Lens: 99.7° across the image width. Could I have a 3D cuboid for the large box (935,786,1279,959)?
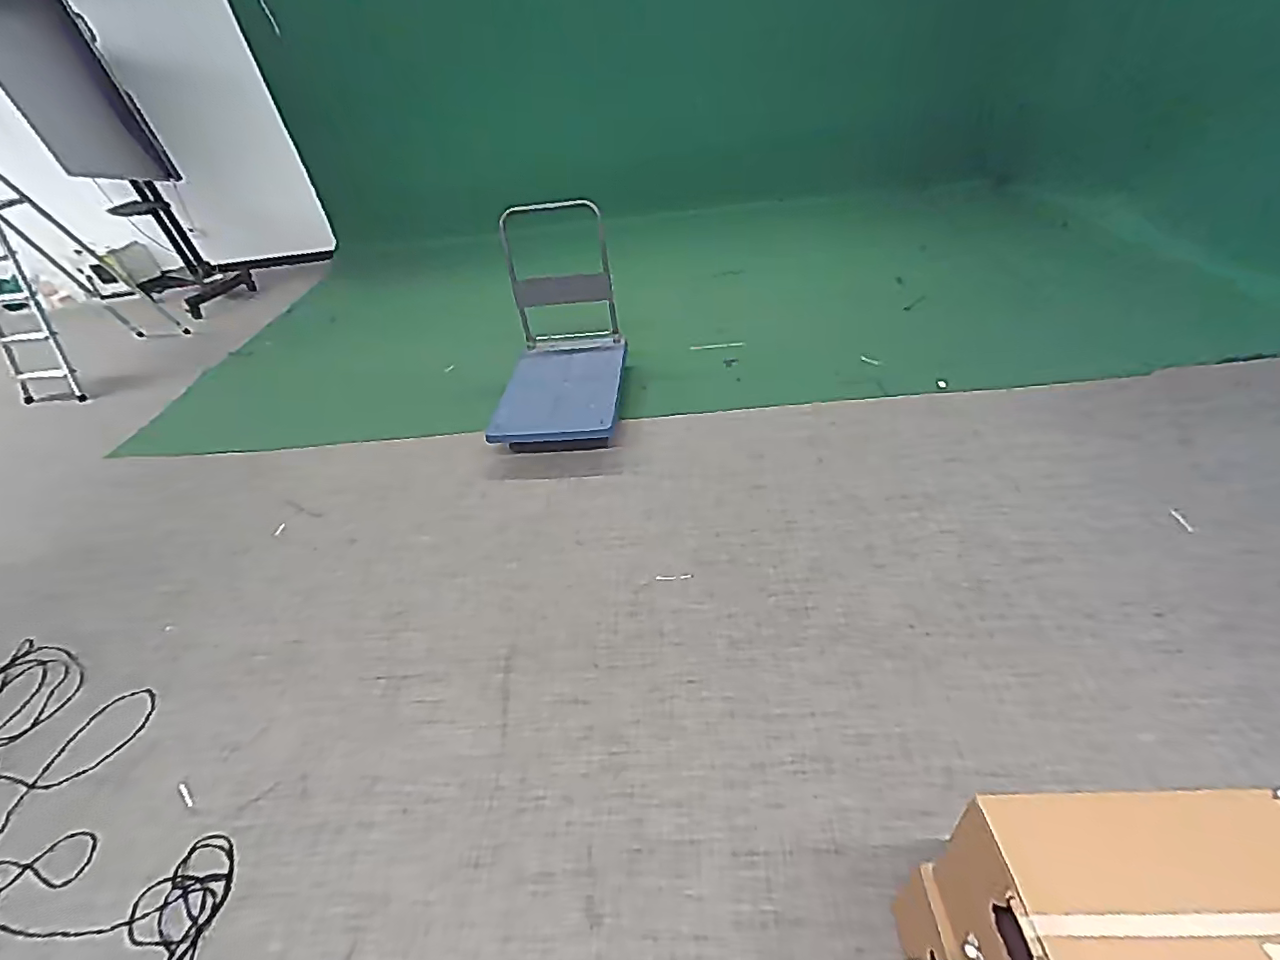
[{"bbox_3d":[0.700,0.656,0.741,0.408,0.320,0.320,-4,37,5],"label":"large box"}]
